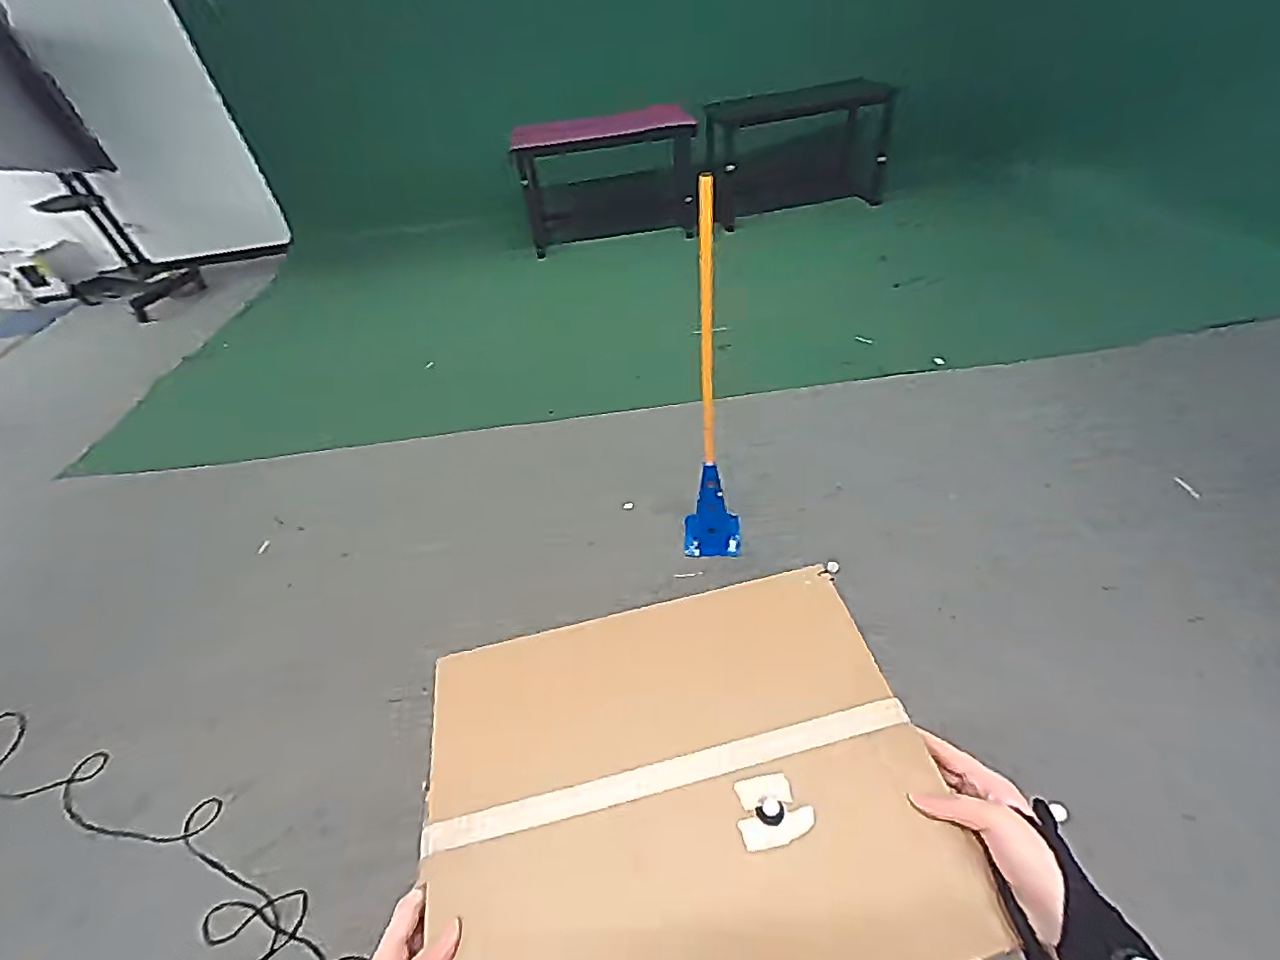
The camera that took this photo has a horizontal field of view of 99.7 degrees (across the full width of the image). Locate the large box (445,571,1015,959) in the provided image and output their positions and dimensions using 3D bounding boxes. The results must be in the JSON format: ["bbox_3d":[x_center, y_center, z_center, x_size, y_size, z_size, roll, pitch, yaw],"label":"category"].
[{"bbox_3d":[0.048,0.347,0.561,0.408,0.320,0.320,-12,47,-5],"label":"large box"}]

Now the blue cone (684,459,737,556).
[{"bbox_3d":[0.240,0.086,1.876,0.193,0.380,0.192,-1,43,8],"label":"blue cone"}]
